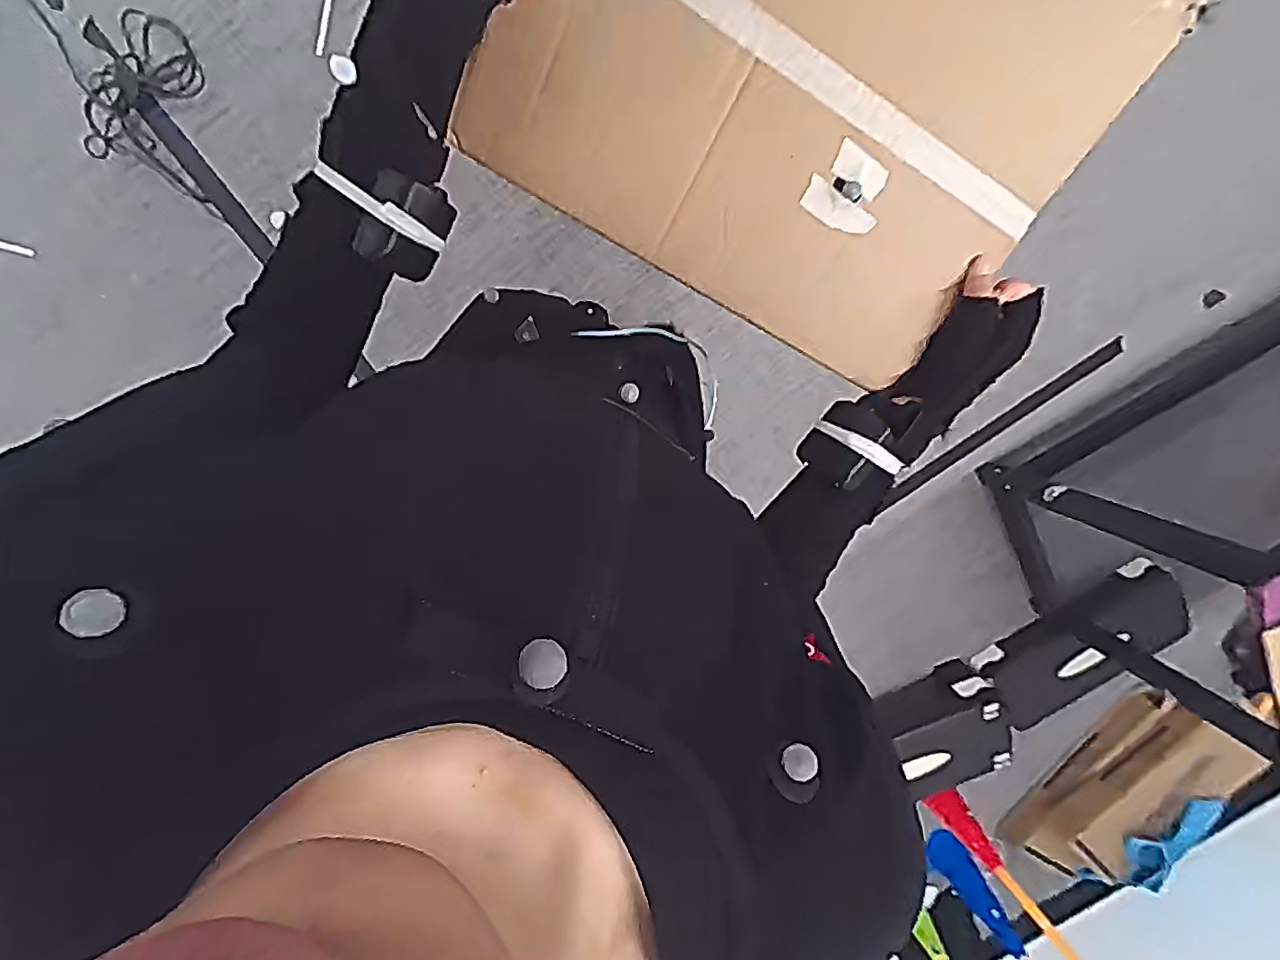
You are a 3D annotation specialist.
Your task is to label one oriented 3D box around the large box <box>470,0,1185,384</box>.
[{"bbox_3d":[0.115,-0.353,0.503,0.408,0.320,0.320,25,117,-15],"label":"large box"}]
